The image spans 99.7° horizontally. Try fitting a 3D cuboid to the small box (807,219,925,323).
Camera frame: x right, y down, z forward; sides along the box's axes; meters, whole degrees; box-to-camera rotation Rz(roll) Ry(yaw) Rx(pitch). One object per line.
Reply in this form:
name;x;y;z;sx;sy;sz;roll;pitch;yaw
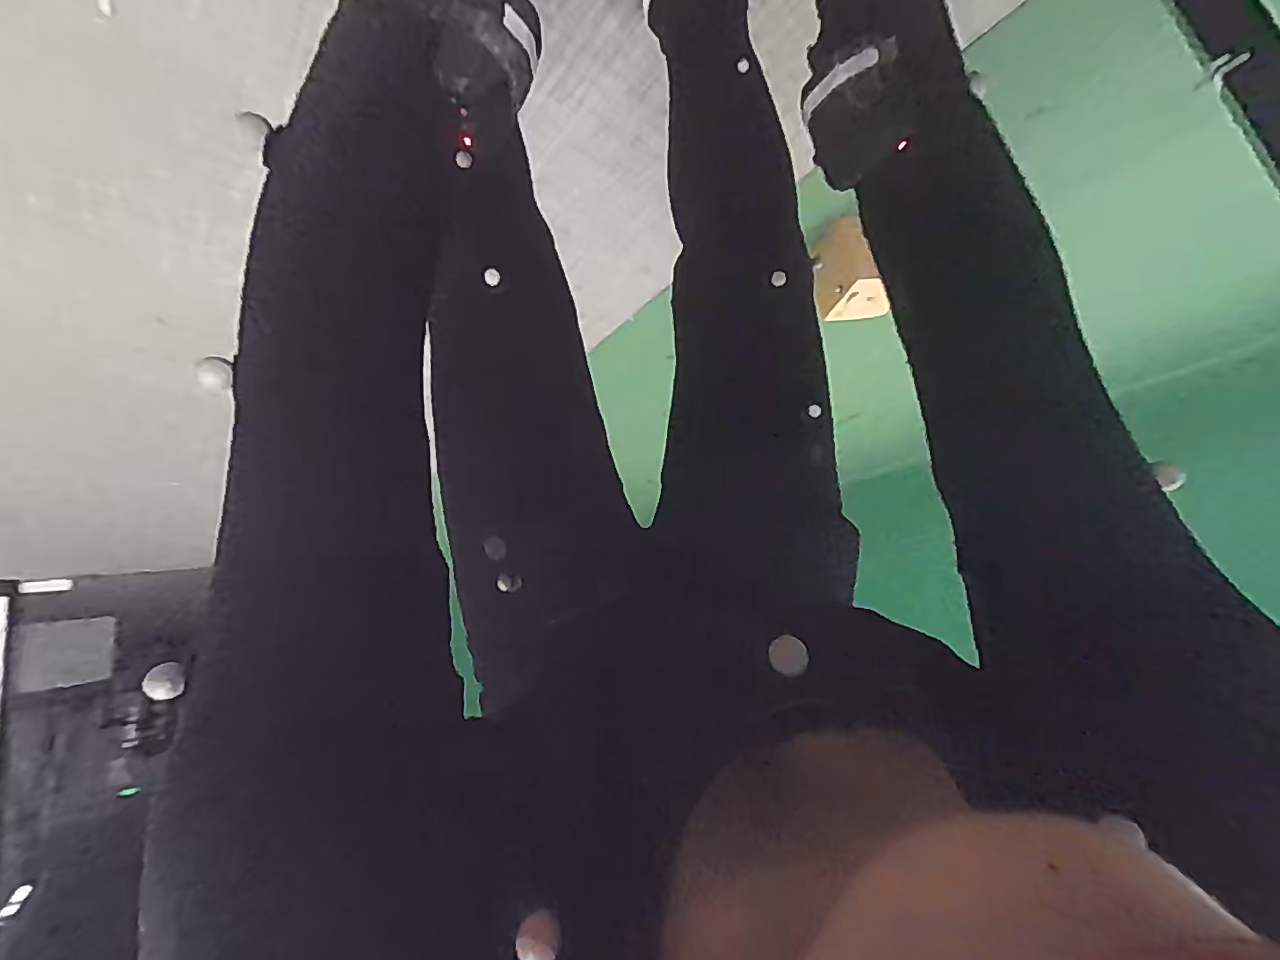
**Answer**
small box;0.527;-0.497;1.284;0.179;0.176;0.168;-9;165;-13
